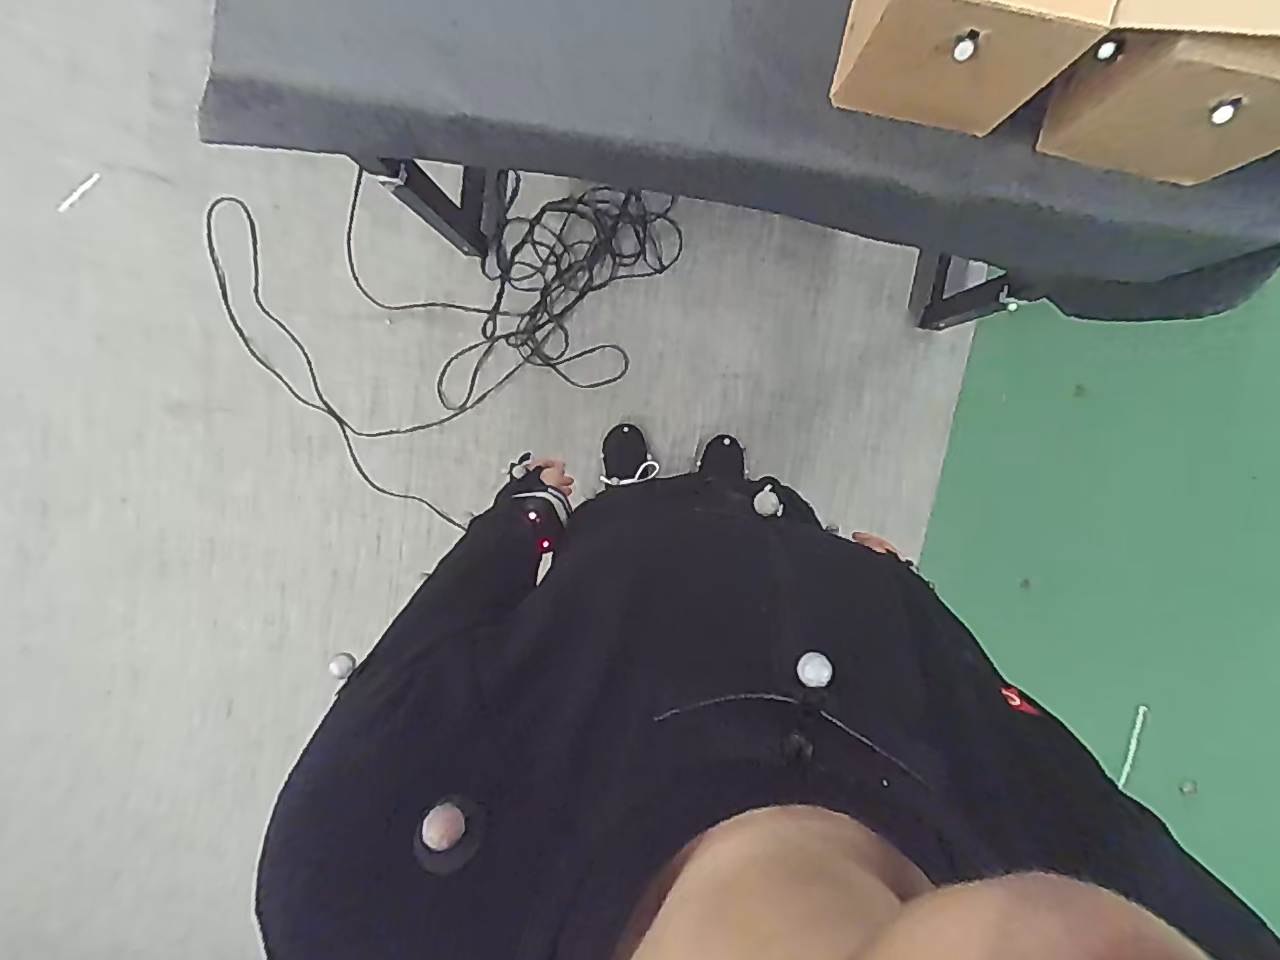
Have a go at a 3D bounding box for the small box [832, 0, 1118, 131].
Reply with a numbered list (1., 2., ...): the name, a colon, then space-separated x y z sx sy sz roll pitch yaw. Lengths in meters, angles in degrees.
1. small box: 0.303 -0.455 0.493 0.179 0.176 0.168 12 97 1
